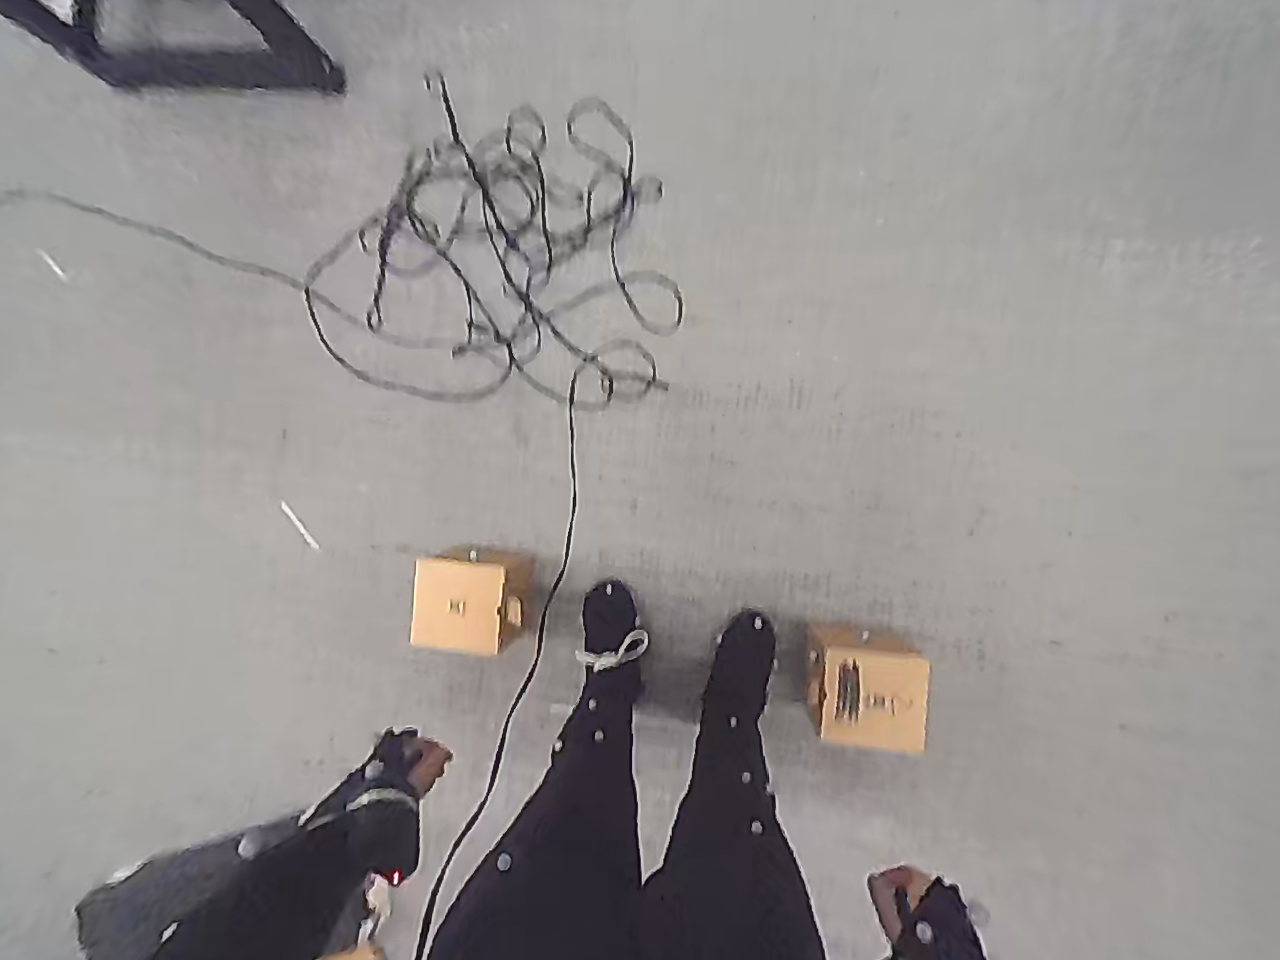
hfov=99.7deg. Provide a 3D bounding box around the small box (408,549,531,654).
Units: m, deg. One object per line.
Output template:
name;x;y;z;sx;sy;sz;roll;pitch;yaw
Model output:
small box;-0.334;0.233;1.082;0.179;0.176;0.168;4;91;6
